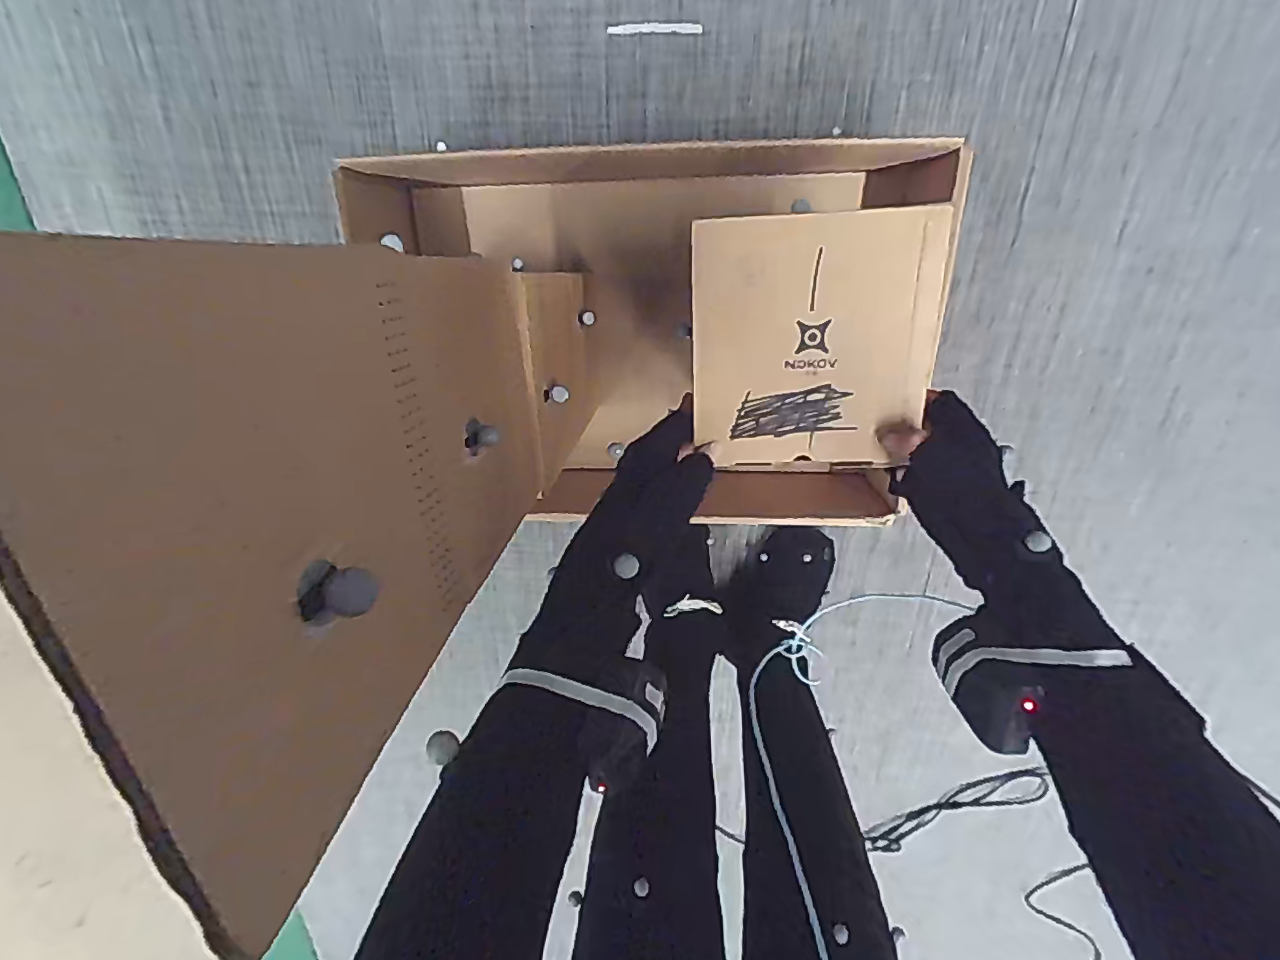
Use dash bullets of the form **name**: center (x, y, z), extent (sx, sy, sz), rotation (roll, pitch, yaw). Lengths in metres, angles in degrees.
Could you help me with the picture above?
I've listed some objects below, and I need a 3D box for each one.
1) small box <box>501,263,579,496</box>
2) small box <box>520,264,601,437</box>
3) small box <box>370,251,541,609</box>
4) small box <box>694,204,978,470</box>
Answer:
- **small box**: center (-0.152, -0.098, 0.484), extent (0.168, 0.176, 0.179), rotation (0, 113, 4)
- **small box**: center (-0.139, -0.159, 0.634), extent (0.168, 0.176, 0.179), rotation (2, 113, 5)
- **small box**: center (-0.166, -0.041, 0.331), extent (0.168, 0.176, 0.179), rotation (-2, 112, 4)
- **small box**: center (0.131, -0.122, 0.440), extent (0.168, 0.176, 0.179), rotation (2, 113, 4)
